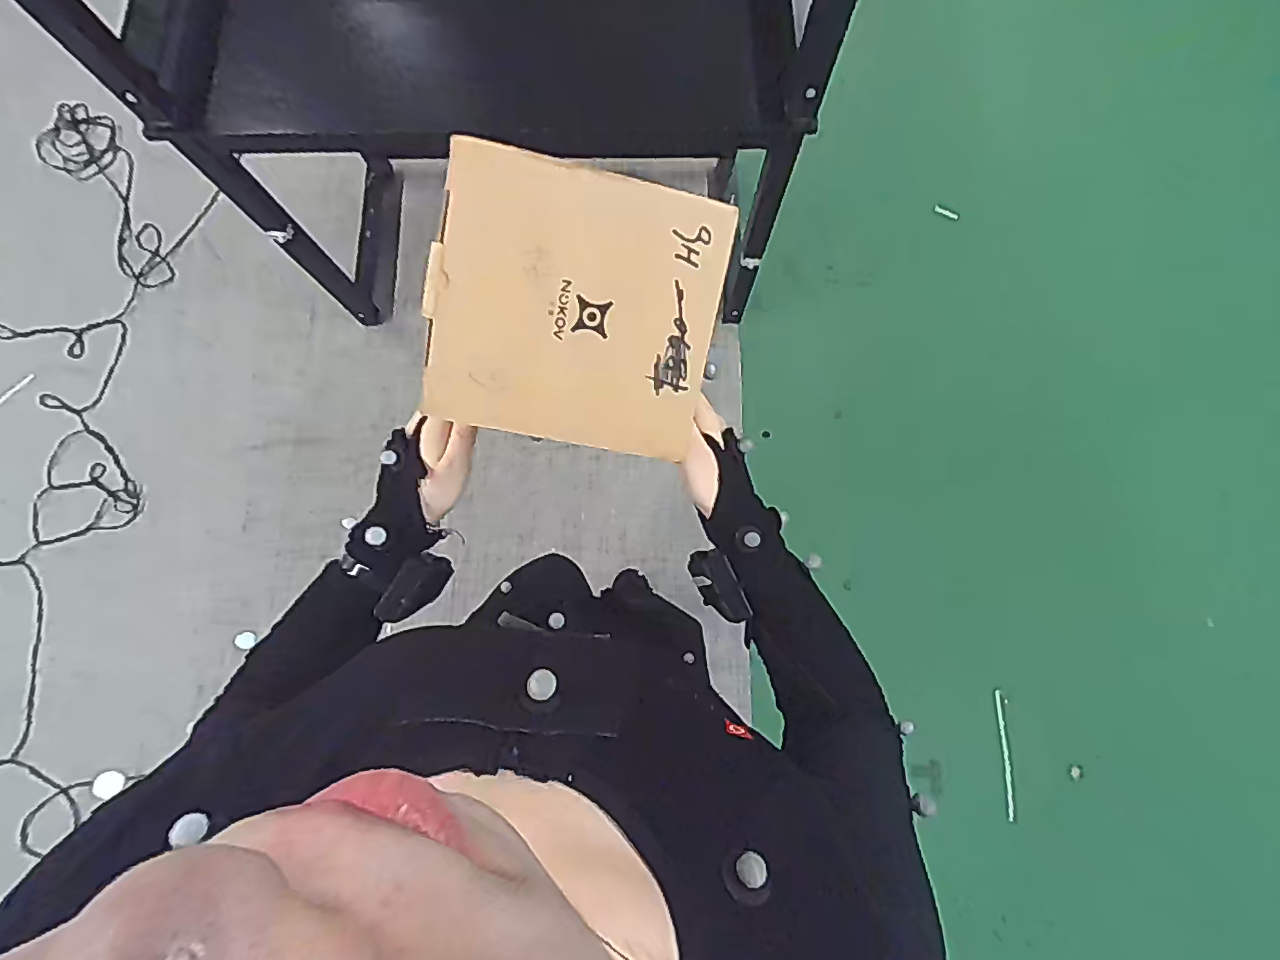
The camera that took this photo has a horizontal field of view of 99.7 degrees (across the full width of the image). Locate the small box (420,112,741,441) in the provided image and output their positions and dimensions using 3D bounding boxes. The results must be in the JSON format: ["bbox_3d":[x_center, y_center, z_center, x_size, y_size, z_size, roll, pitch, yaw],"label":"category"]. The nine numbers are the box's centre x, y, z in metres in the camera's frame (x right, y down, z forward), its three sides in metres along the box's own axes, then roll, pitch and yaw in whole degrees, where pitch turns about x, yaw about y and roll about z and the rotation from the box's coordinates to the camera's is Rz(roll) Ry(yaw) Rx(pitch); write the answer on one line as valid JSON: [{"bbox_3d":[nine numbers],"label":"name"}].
[{"bbox_3d":[-0.046,-0.135,0.414,0.179,0.176,0.168,11,101,-9],"label":"small box"}]
